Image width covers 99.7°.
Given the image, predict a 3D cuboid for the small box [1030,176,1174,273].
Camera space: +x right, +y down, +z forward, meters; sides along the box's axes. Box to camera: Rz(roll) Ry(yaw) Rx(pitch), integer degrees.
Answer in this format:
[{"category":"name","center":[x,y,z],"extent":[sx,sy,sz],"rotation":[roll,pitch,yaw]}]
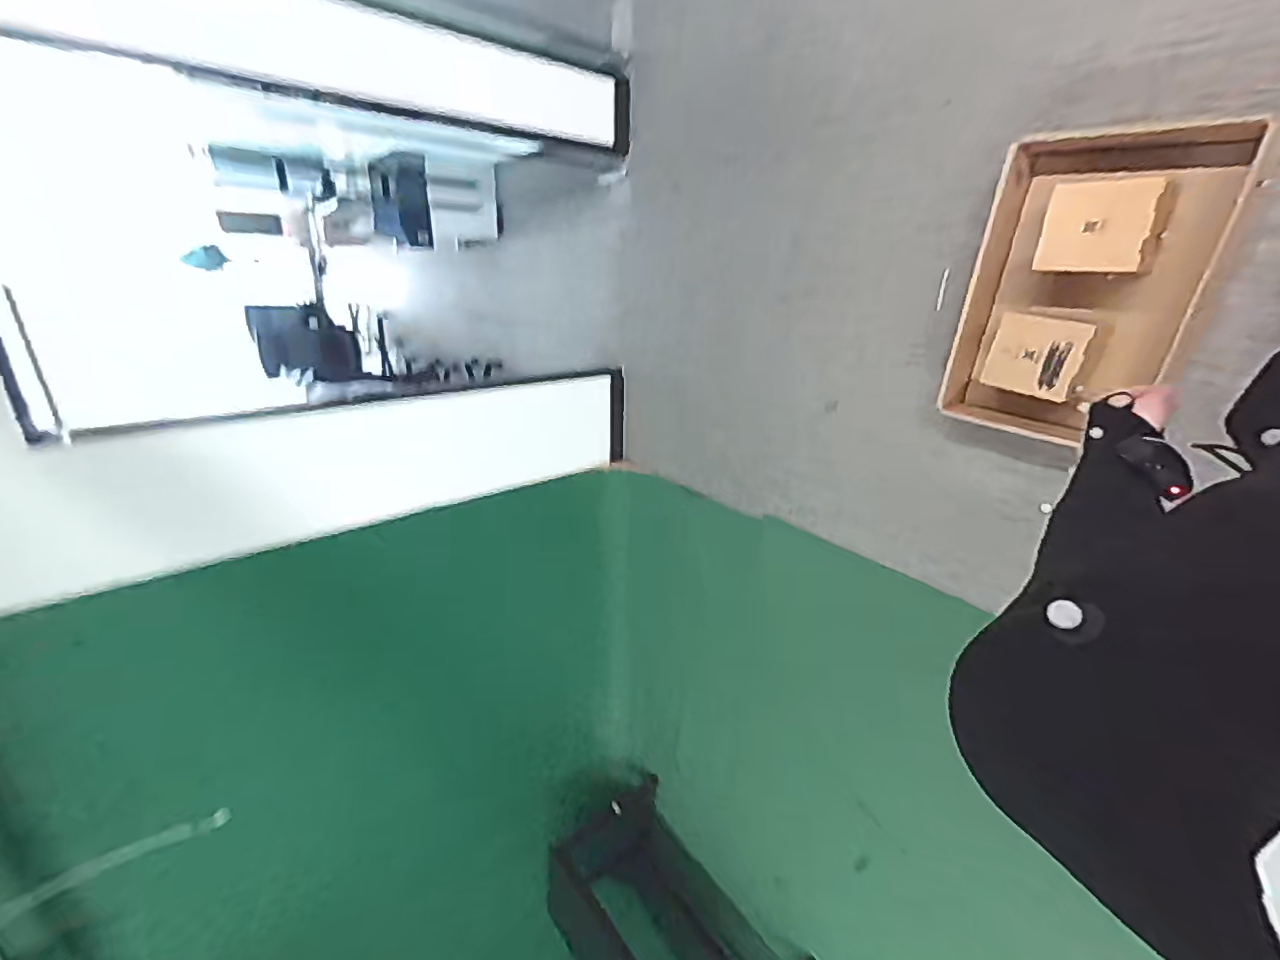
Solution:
[{"category":"small box","center":[0.962,-0.524,1.128],"extent":[0.179,0.176,0.168],"rotation":[23,120,44]}]
